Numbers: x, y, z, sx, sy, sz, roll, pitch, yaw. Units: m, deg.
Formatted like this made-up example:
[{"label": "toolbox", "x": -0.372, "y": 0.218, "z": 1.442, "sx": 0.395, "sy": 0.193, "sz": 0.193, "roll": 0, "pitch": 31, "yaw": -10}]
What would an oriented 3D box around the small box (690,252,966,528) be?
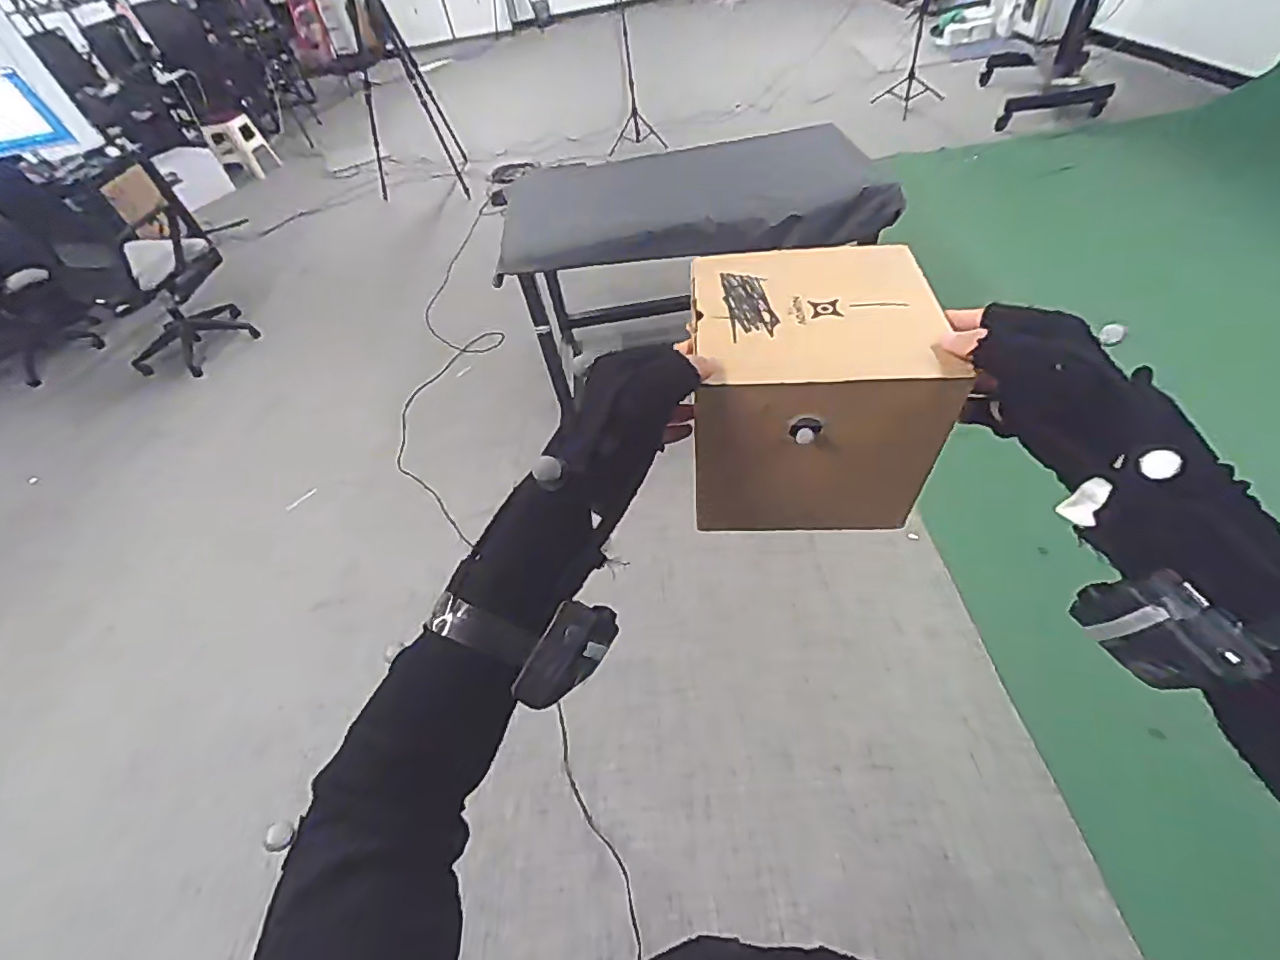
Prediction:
[{"label": "small box", "x": 0.133, "y": -0.071, "z": 0.460, "sx": 0.179, "sy": 0.176, "sz": 0.168, "roll": -1, "pitch": 50, "yaw": 5}]
